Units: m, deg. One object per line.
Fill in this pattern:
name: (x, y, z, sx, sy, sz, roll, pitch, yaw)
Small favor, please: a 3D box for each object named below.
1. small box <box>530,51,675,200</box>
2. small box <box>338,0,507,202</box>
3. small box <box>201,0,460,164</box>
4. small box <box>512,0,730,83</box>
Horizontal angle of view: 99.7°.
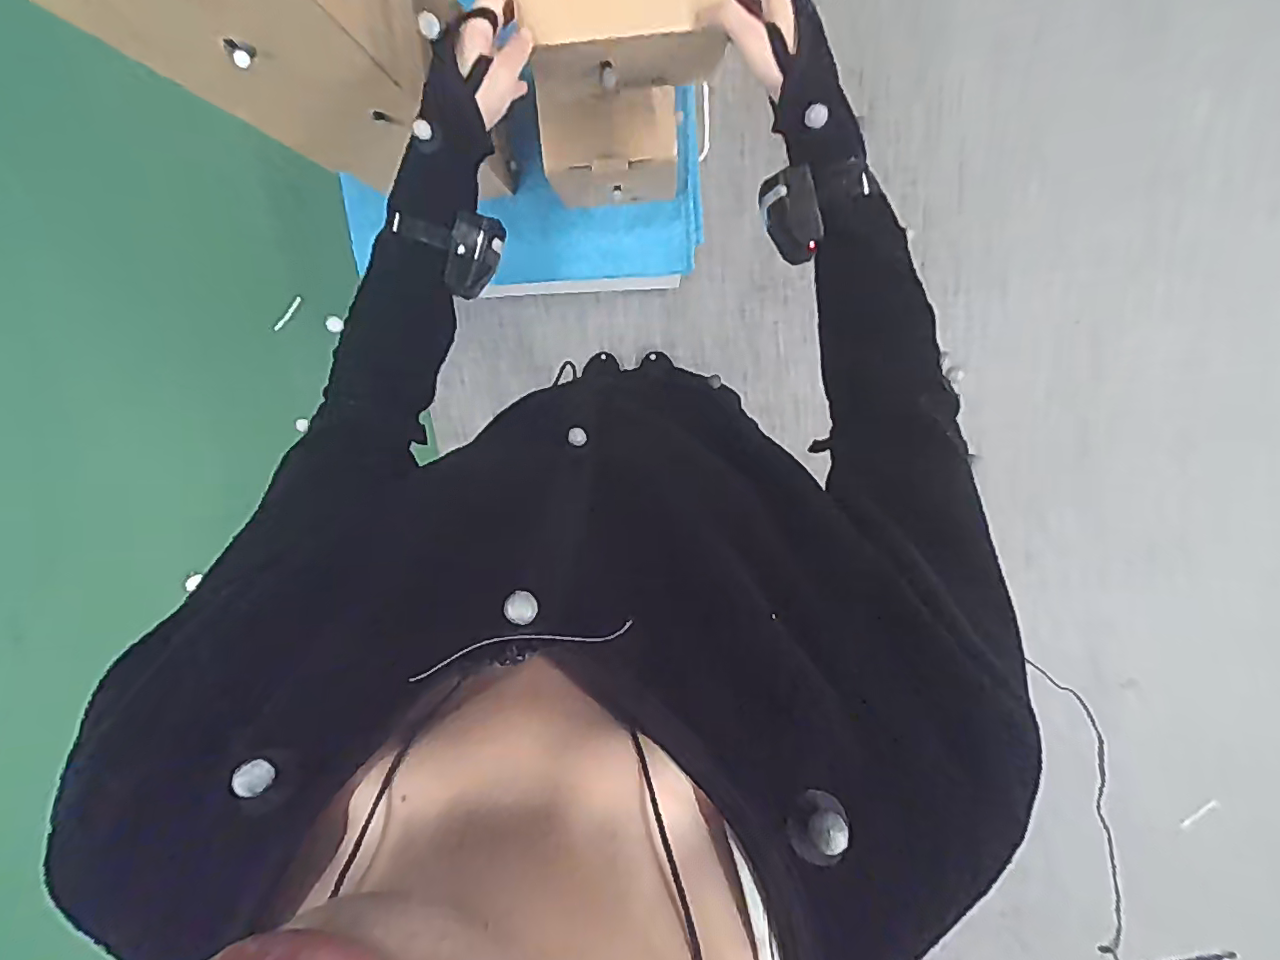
small box: (-0.039, -0.478, 0.702, 0.168, 0.176, 0.179, -3, 103, 3)
small box: (-0.283, -0.481, 0.710, 0.179, 0.176, 0.168, -4, 102, 3)
small box: (-0.297, -0.444, 0.550, 0.179, 0.176, 0.168, -4, 102, 3)
small box: (-0.012, -0.449, 0.442, 0.168, 0.176, 0.179, -2, 113, 5)
